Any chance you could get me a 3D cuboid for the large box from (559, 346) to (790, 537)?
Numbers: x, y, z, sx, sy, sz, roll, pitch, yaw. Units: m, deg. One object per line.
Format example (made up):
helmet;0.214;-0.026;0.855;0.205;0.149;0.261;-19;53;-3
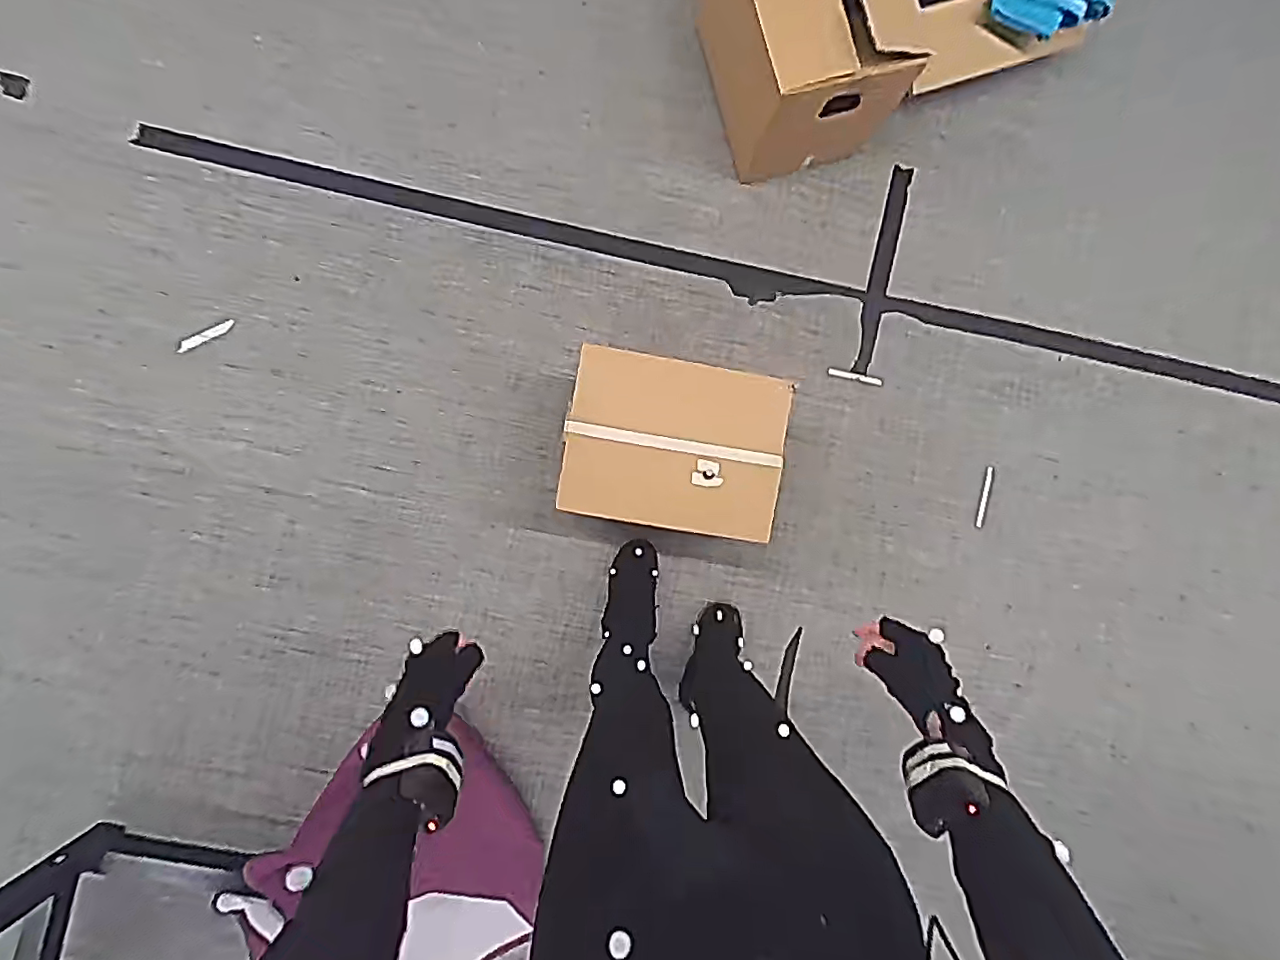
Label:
large box;0.055;-0.067;1.150;0.408;0.320;0.320;9;89;-4
